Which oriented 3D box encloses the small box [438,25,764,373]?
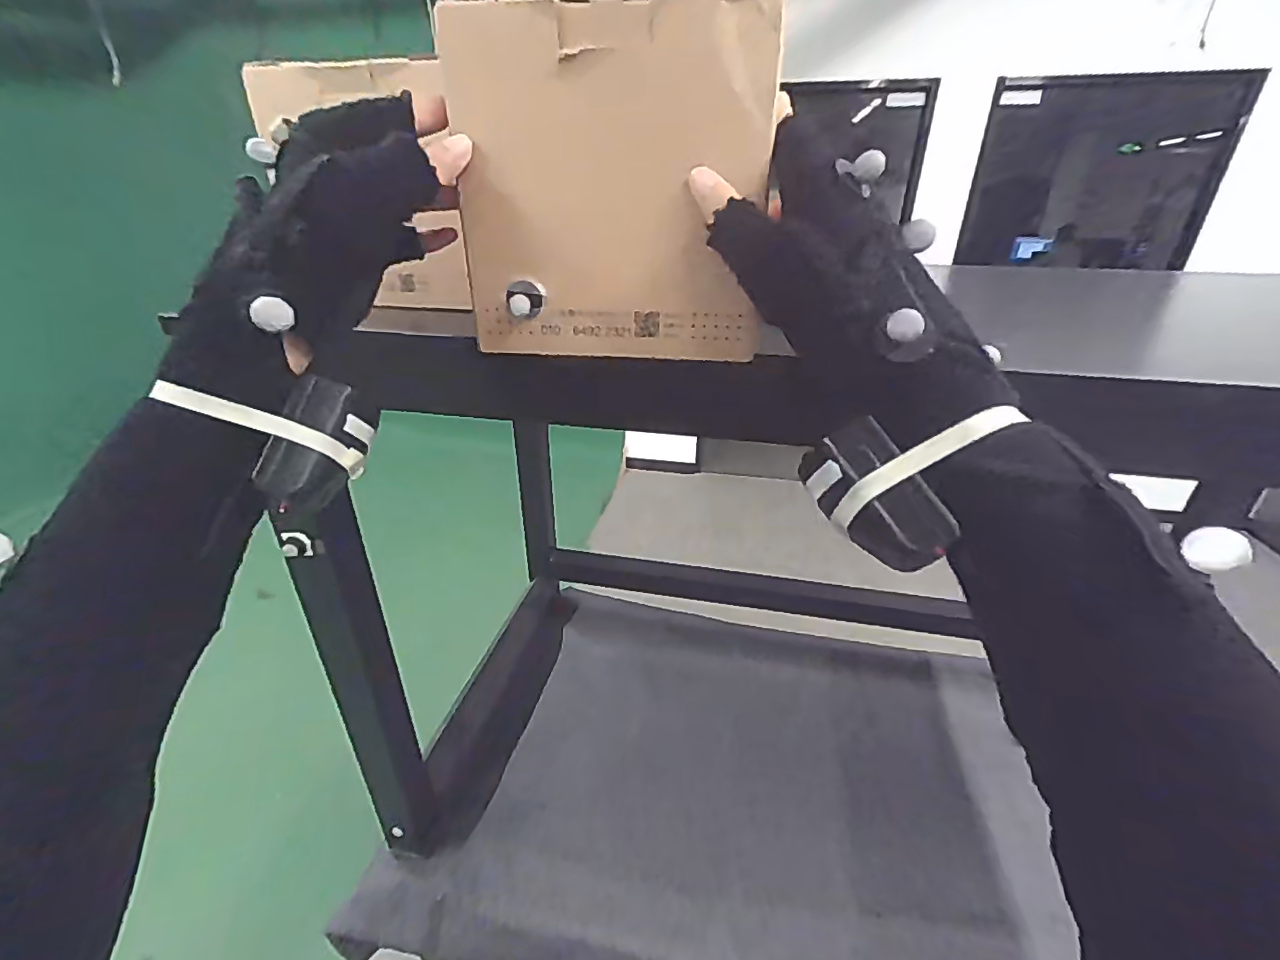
[{"bbox_3d":[-0.009,-0.175,0.369,0.168,0.176,0.179,4,26,7],"label":"small box"}]
